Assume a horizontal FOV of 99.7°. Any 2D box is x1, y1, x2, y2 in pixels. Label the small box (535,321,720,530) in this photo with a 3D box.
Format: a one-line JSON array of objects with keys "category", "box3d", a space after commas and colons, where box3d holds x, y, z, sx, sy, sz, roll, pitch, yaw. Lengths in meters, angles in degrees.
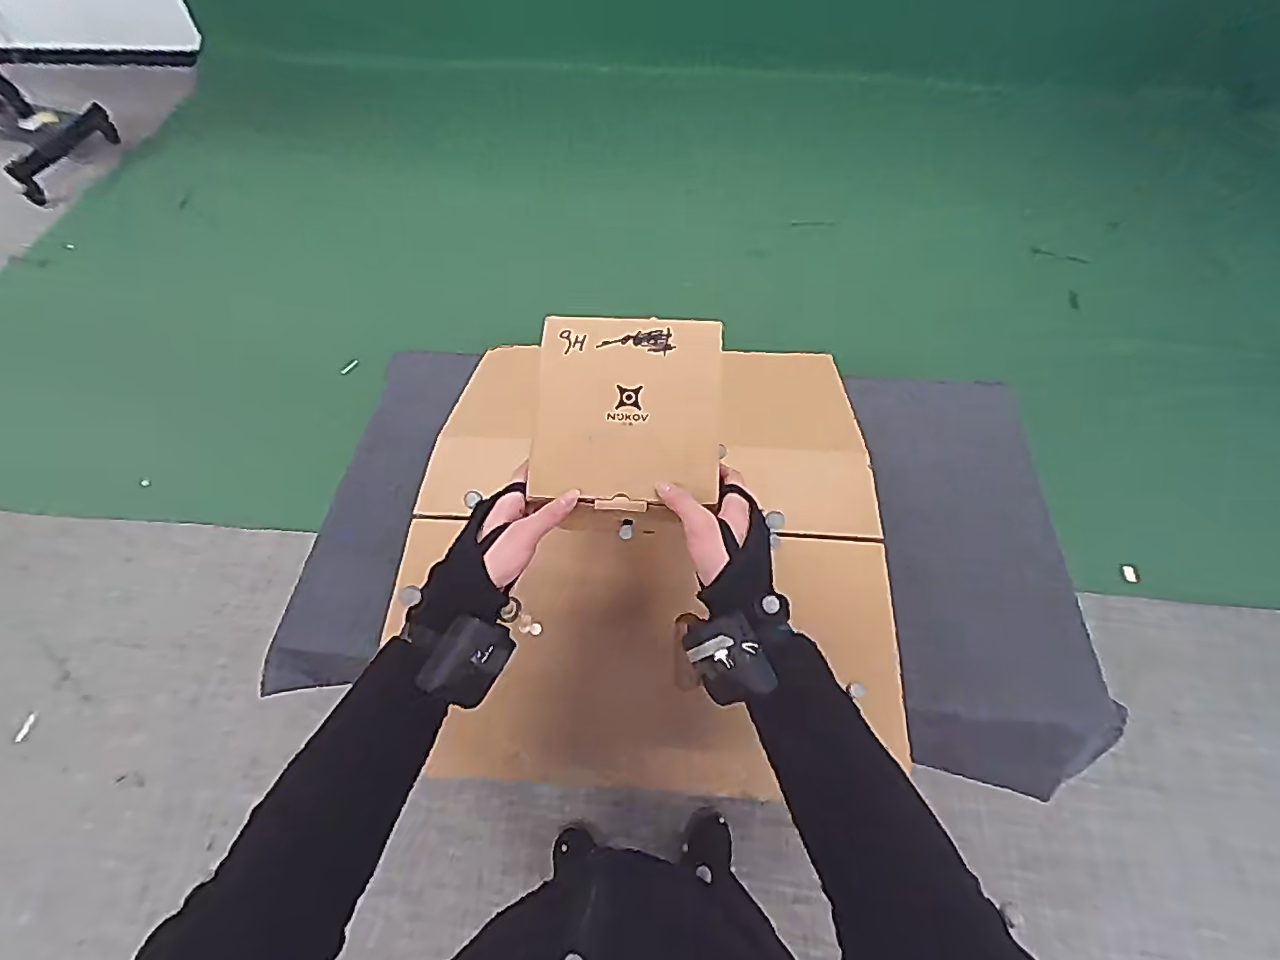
[{"category": "small box", "box3d": [-0.004, -0.045, 0.566, 0.168, 0.176, 0.179, 1, 75, 3]}]
